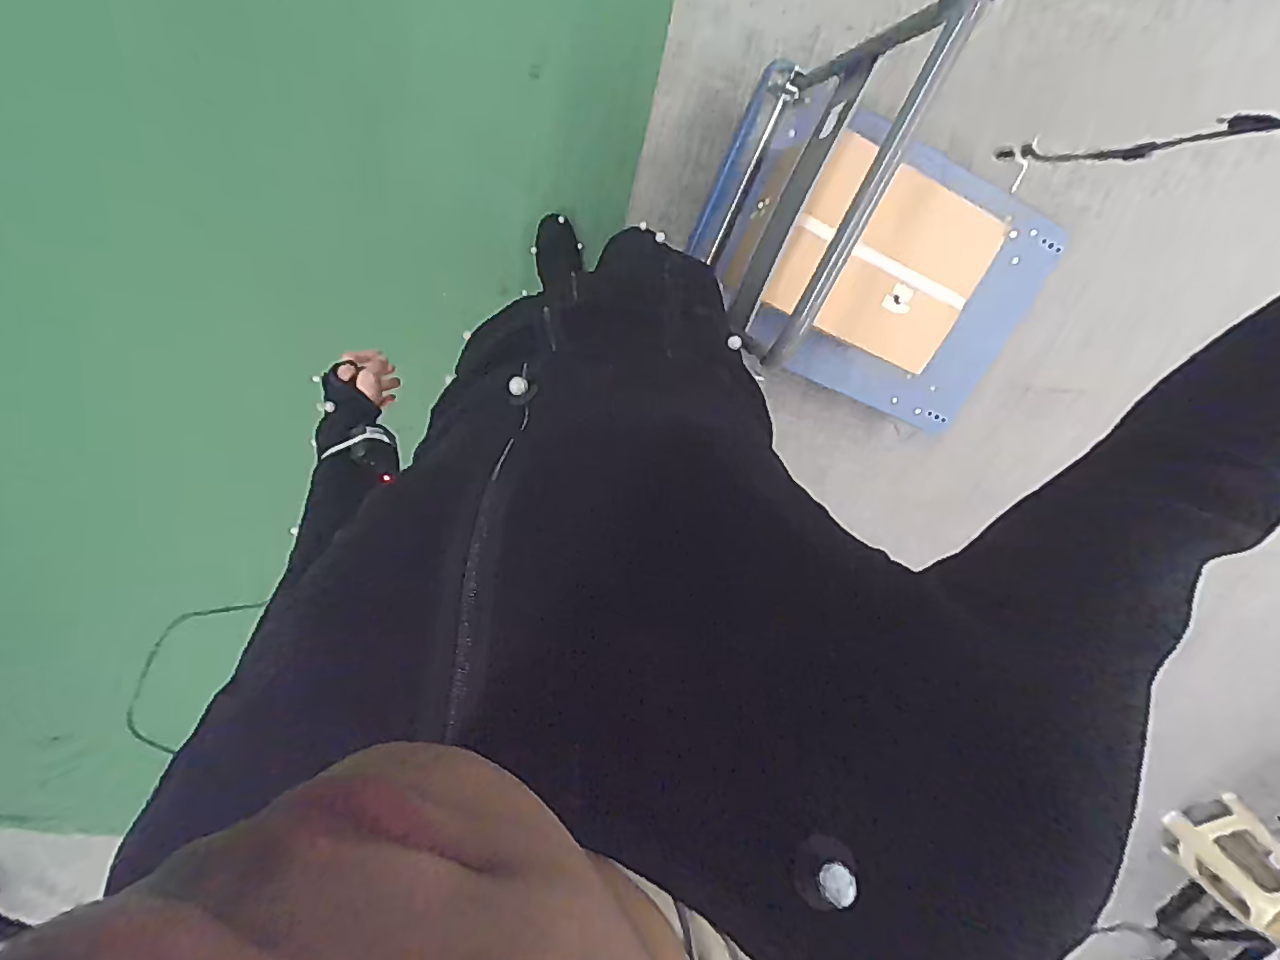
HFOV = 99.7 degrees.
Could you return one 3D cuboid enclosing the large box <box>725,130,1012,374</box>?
[{"bbox_3d":[0.453,-0.474,1.164,0.408,0.320,0.320,21,111,-15],"label":"large box"}]
